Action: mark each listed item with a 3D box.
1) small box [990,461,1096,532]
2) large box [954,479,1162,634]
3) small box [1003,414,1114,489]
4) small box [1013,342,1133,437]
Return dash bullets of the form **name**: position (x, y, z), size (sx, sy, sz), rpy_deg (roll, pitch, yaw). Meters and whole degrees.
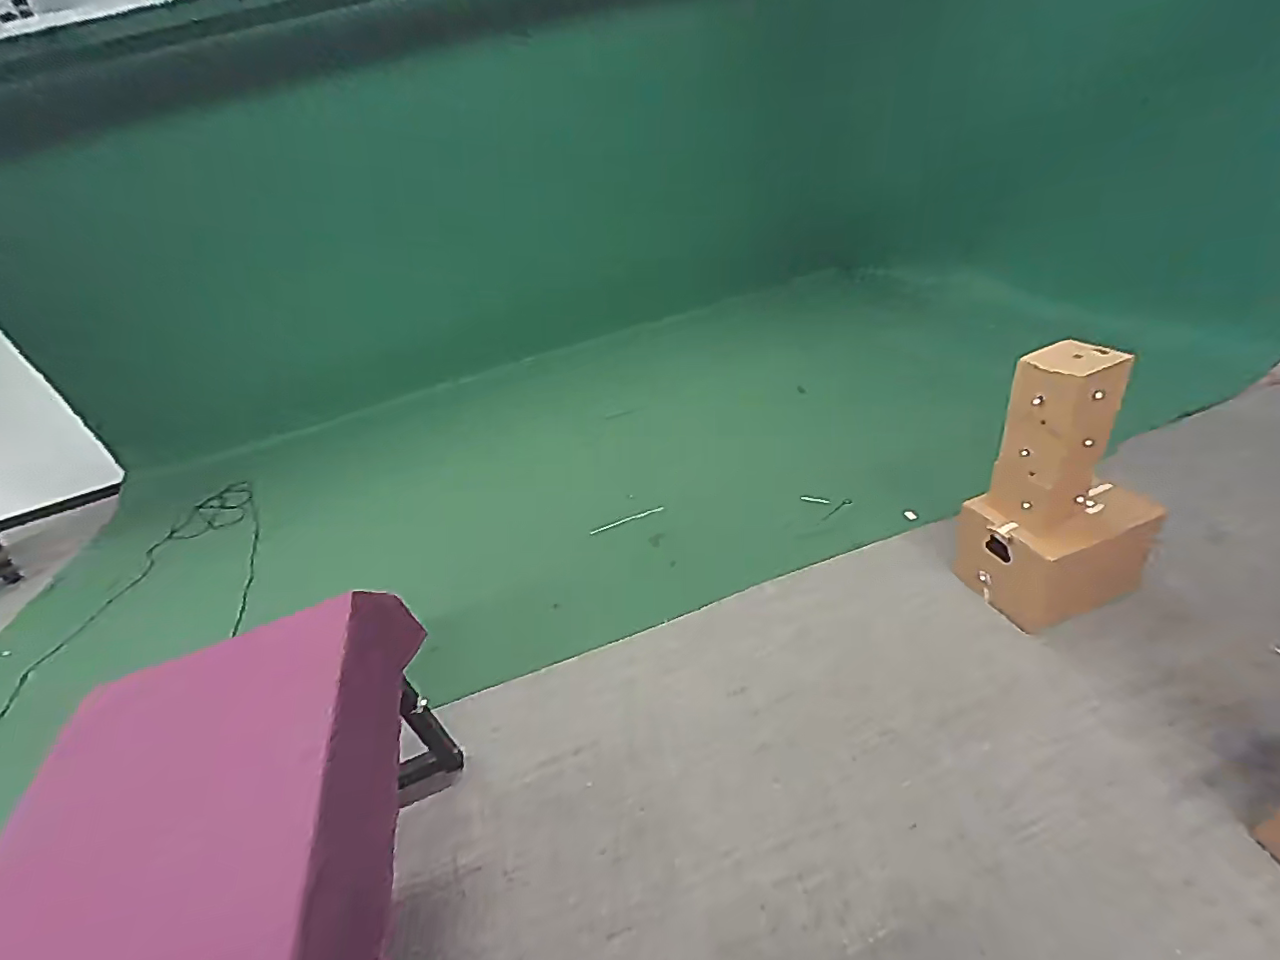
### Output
- **small box**: position (1.166, 0.034, 1.579), size (0.168, 0.176, 0.179), rpy_deg (-20, 33, -9)
- **large box**: position (1.287, 0.216, 1.708), size (0.408, 0.320, 0.320), rpy_deg (-19, 34, -8)
- **small box**: position (1.140, -0.101, 1.489), size (0.179, 0.176, 0.168), rpy_deg (-21, 34, -13)
- **small box**: position (1.105, -0.233, 1.397), size (0.179, 0.176, 0.168), rpy_deg (-21, 34, -10)
